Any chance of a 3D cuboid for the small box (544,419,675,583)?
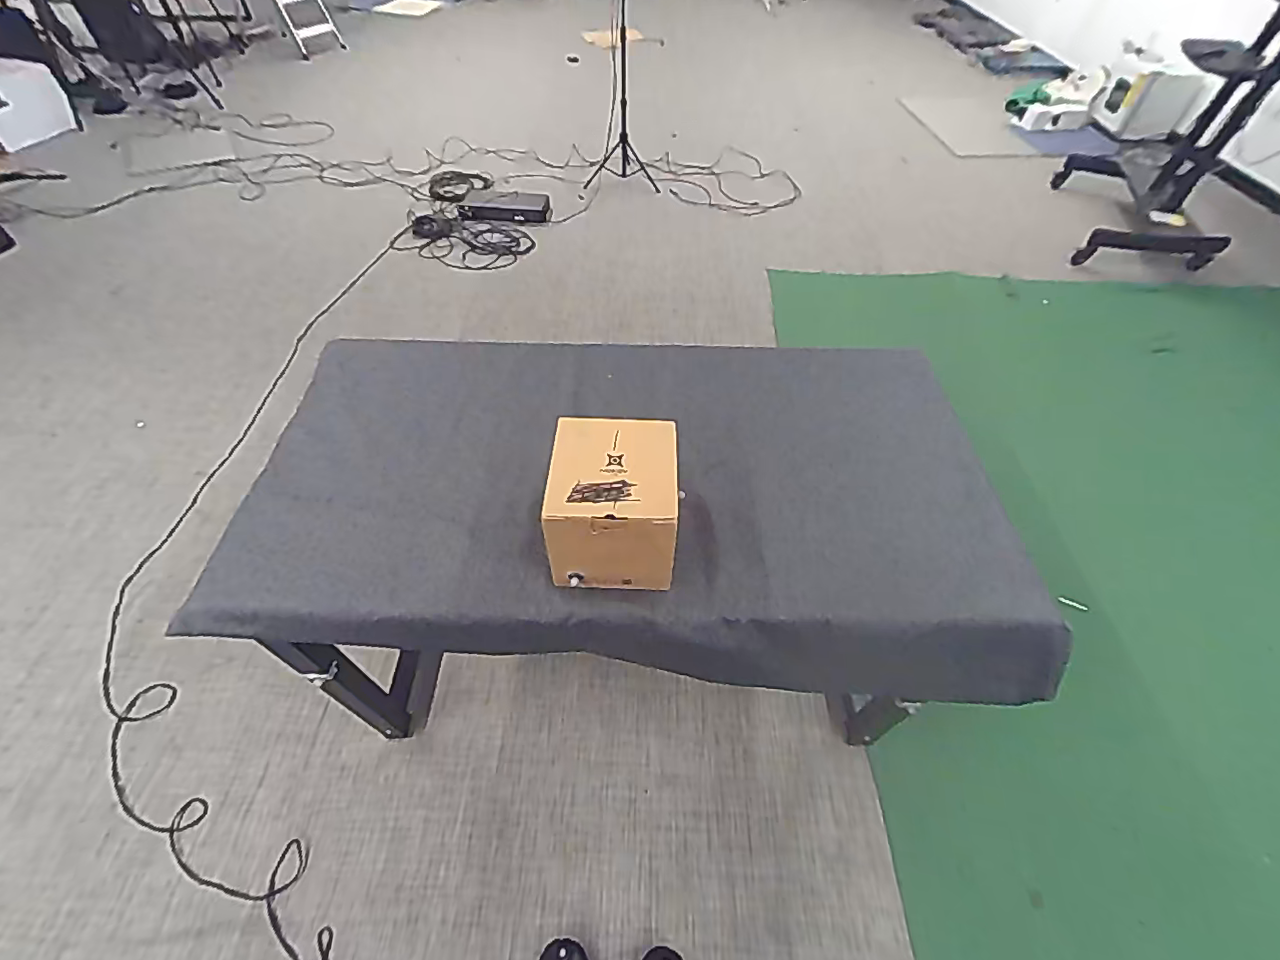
[{"bbox_3d":[-0.035,0.033,0.779,0.168,0.176,0.179,2,49,0],"label":"small box"}]
